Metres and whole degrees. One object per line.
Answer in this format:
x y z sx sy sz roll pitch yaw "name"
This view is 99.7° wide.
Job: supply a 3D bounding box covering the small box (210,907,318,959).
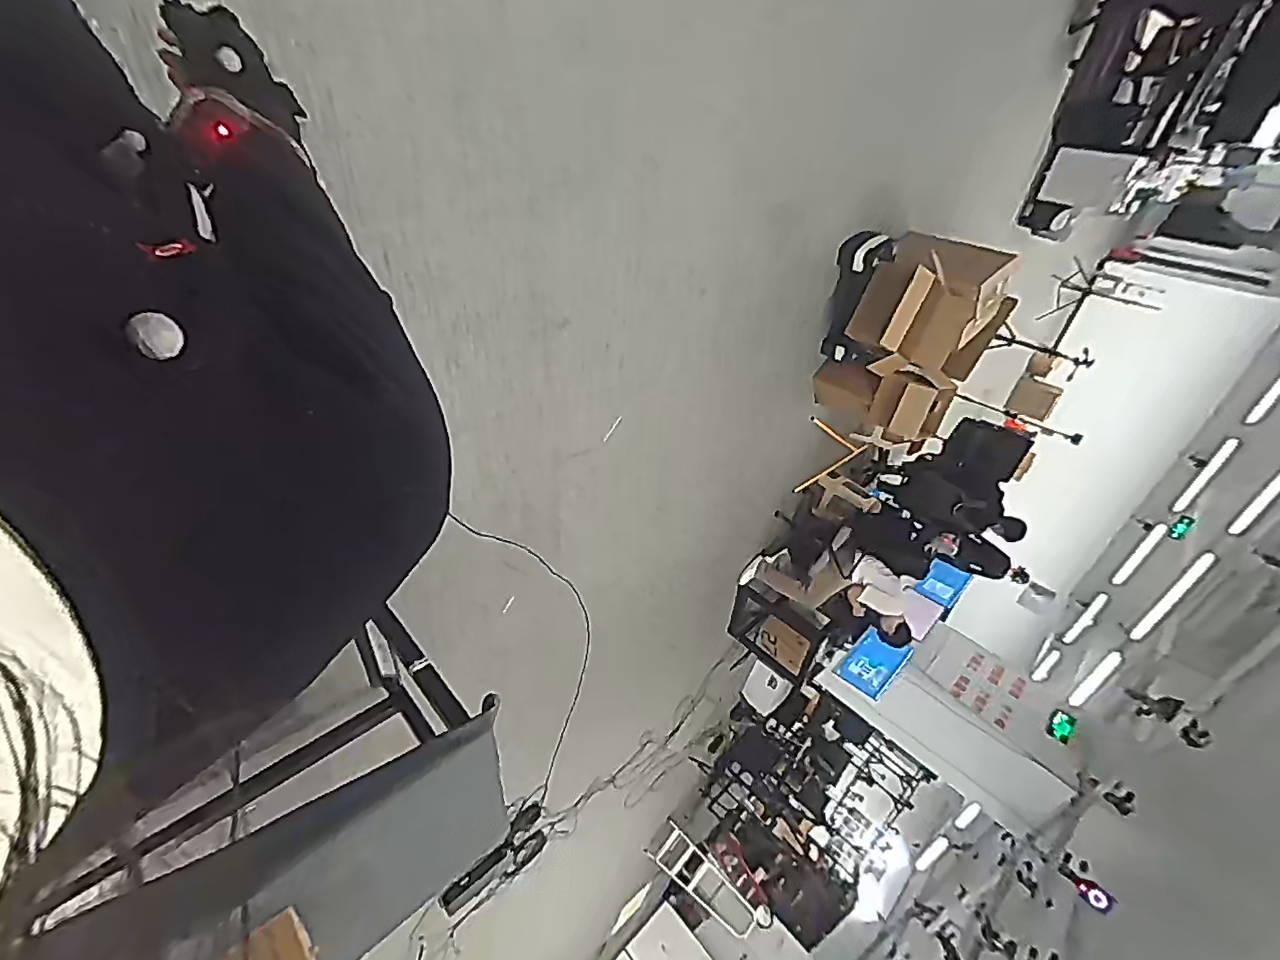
-0.734 0.998 1.057 0.179 0.176 0.168 -24 134 -38 "small box"
